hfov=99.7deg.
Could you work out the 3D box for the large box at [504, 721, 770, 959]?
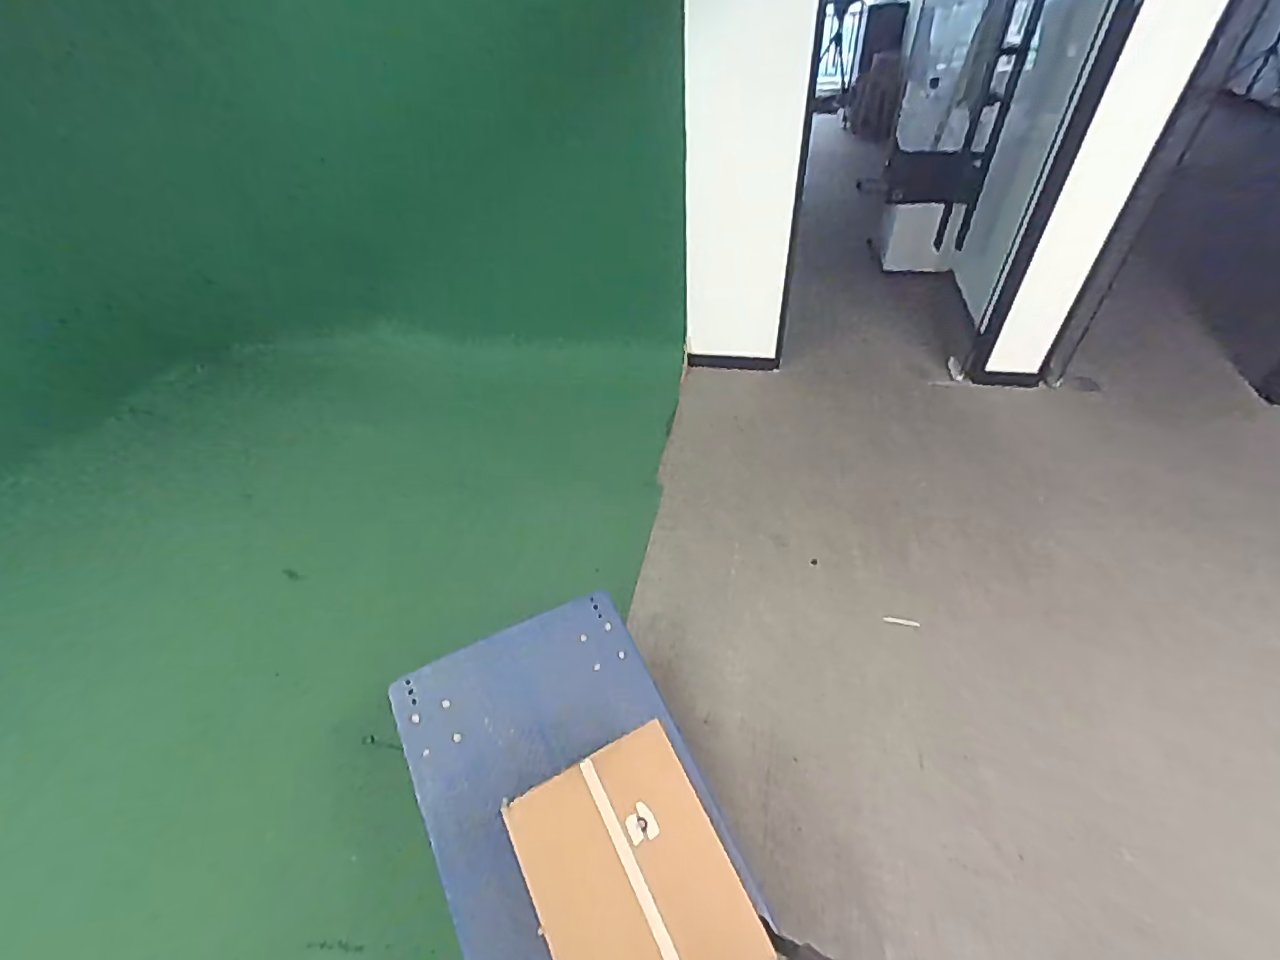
[{"bbox_3d":[-0.029,0.746,1.031,0.320,0.320,0.408,-21,63,-21],"label":"large box"}]
